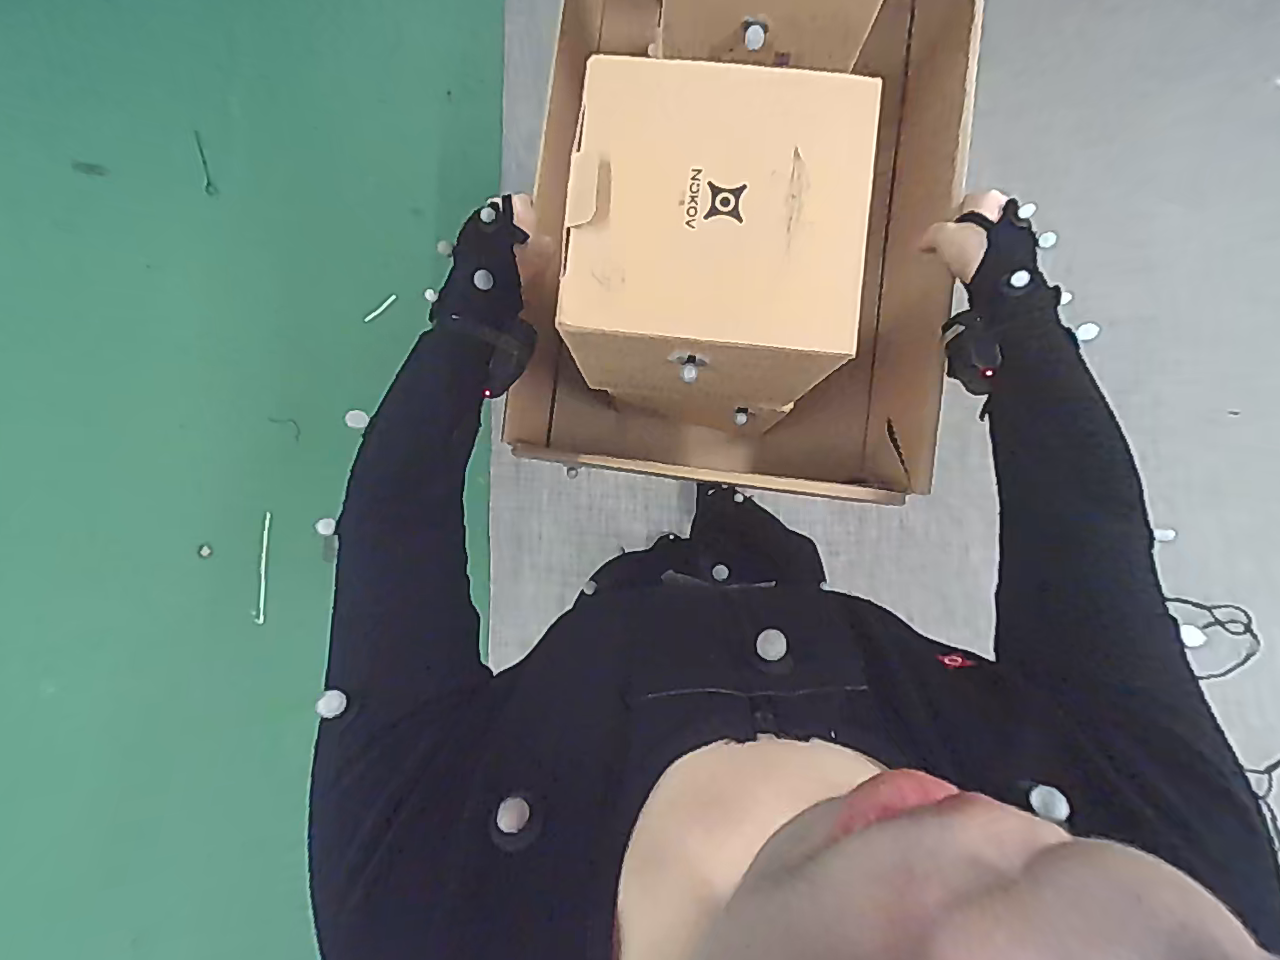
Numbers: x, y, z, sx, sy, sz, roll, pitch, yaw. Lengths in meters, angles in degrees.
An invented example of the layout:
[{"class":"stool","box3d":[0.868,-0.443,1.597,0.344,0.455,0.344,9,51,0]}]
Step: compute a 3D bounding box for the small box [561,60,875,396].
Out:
[{"class":"small box","box3d":[0.048,-0.162,0.402,0.179,0.176,0.168,5,88,1]}]
